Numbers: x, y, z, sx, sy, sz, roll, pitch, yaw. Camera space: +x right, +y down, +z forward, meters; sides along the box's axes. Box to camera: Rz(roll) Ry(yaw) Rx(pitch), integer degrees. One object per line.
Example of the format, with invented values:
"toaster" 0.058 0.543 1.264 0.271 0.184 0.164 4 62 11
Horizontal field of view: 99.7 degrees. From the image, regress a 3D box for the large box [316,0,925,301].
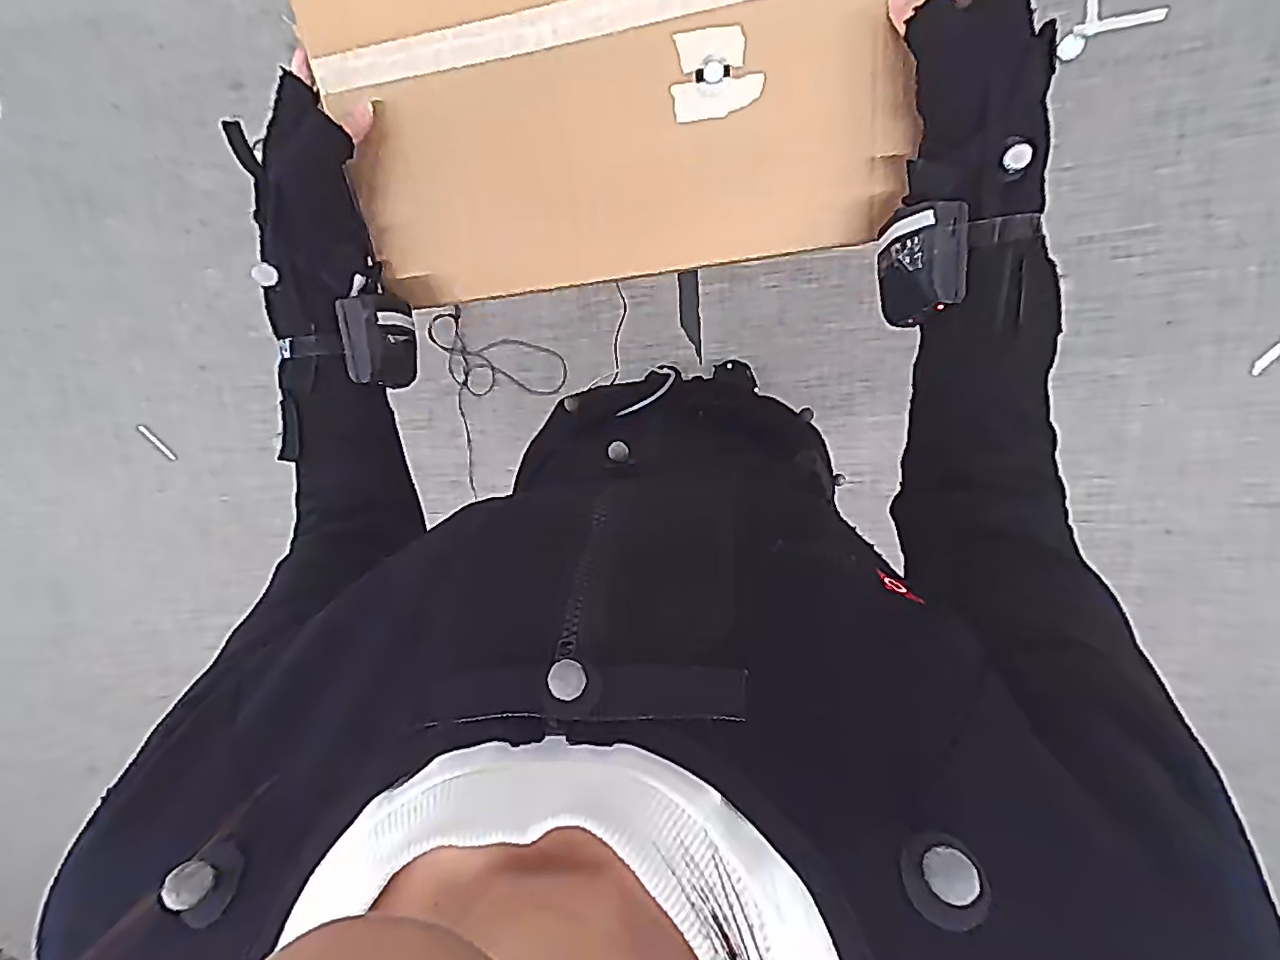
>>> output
"large box" -0.008 -0.363 0.494 0.408 0.320 0.320 -6 112 8
